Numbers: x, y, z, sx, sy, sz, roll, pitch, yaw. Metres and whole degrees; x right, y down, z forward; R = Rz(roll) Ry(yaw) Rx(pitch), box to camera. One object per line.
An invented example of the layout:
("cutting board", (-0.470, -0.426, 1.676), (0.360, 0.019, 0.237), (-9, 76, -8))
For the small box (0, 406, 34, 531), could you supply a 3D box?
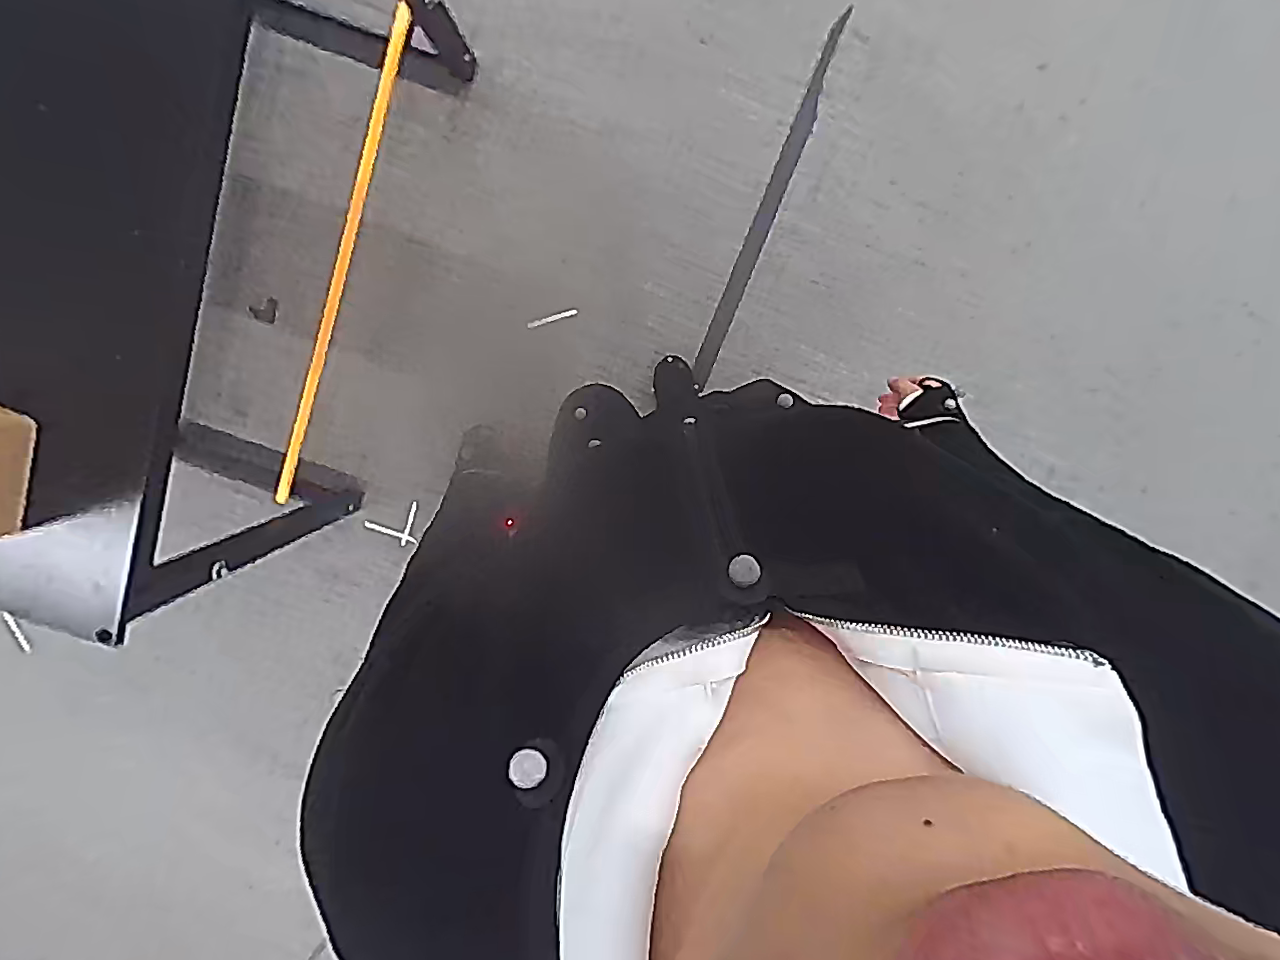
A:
("small box", (-0.938, -0.017, 0.680), (0.168, 0.176, 0.179), (20, 100, -4))
